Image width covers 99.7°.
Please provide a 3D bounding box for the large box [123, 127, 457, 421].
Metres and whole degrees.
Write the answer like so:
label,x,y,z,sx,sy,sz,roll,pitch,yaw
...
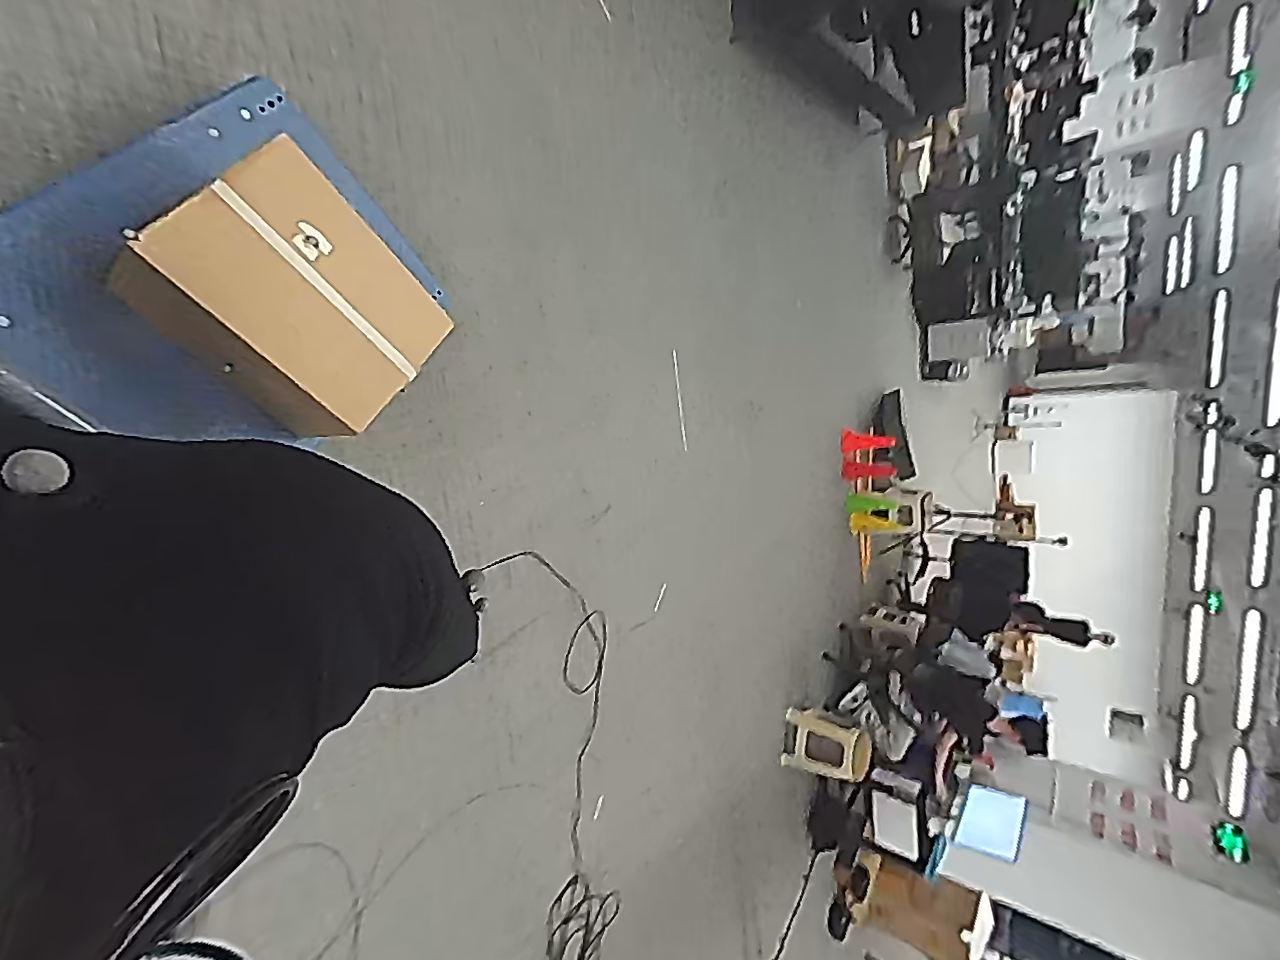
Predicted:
label,x,y,z,sx,sy,sz,roll,pitch,yaw
large box,-0.659,-0.358,1.055,0.408,0.320,0.320,49,57,-37
